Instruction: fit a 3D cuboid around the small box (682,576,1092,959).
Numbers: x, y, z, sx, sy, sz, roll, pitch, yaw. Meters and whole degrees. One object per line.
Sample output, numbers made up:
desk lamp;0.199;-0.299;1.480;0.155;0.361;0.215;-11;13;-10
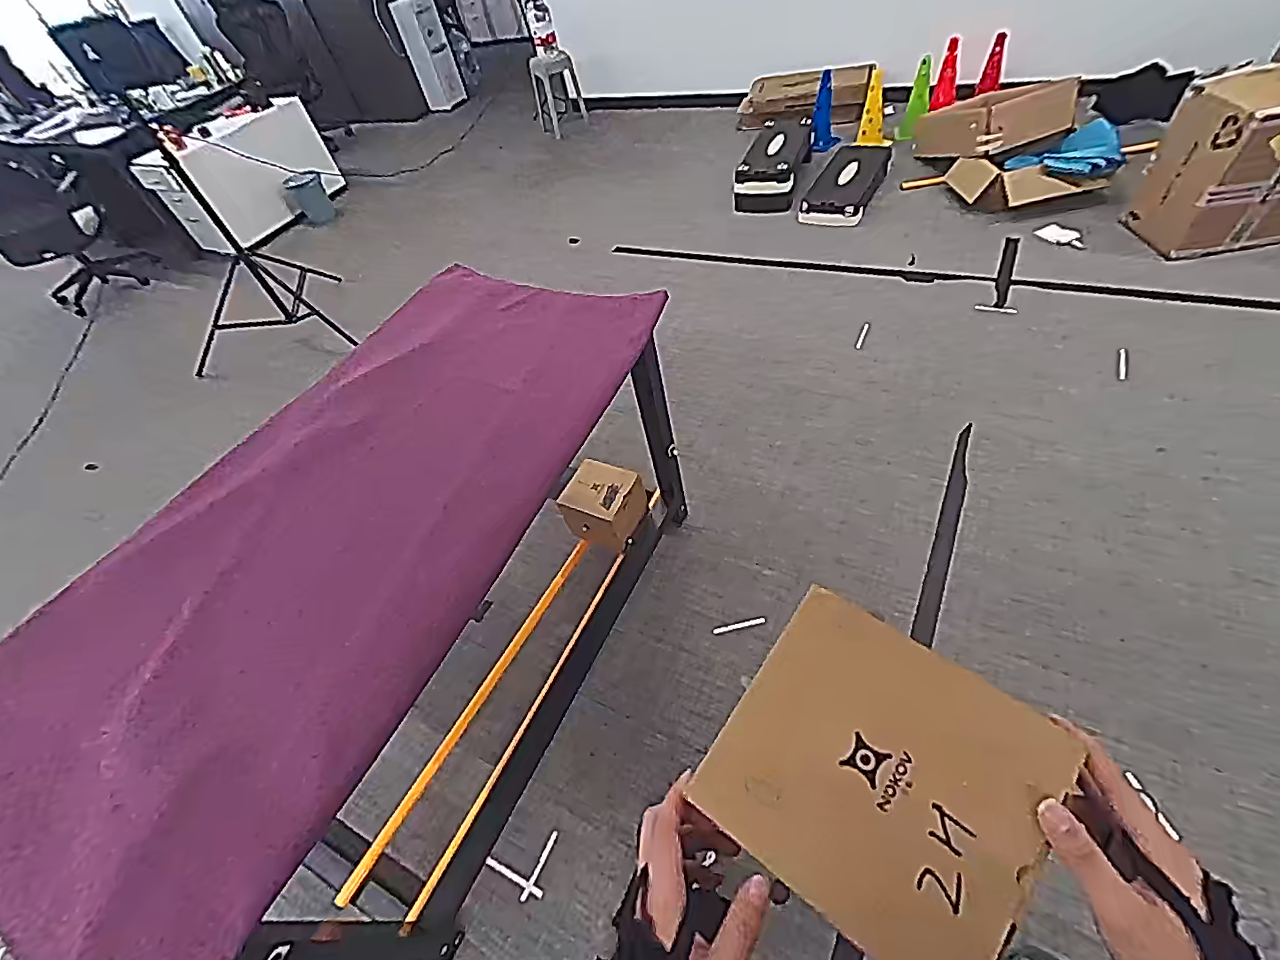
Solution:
small box;0.155;0.202;0.387;0.179;0.176;0.168;31;74;25

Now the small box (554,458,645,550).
small box;-0.102;0.069;1.485;0.179;0.176;0.168;16;57;25
